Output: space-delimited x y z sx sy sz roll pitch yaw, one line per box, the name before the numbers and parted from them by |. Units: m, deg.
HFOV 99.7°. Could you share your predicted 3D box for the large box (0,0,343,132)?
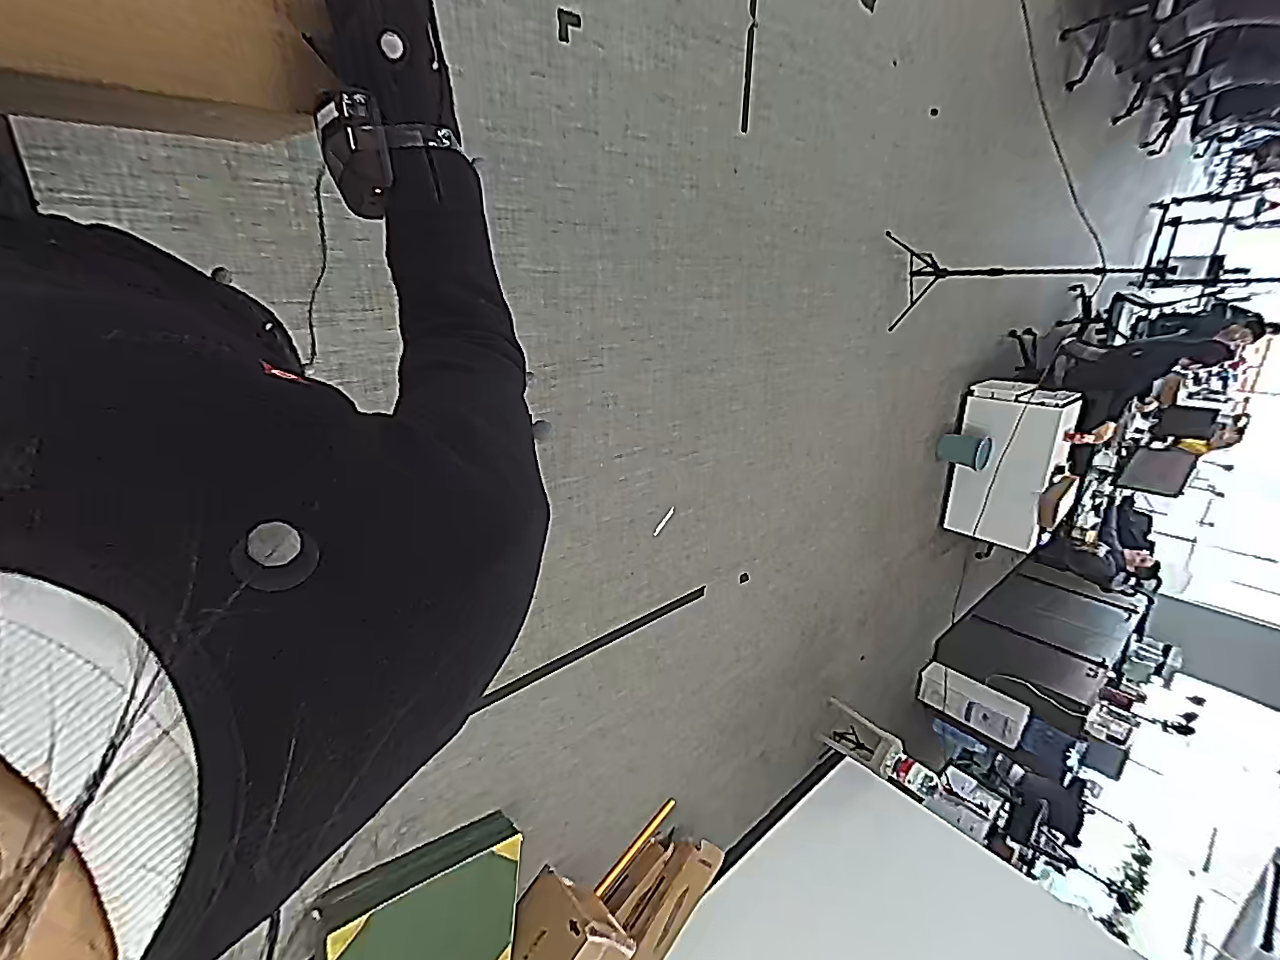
large box | -0.452 -0.406 0.301 0.408 0.320 0.320 -18 124 -37
